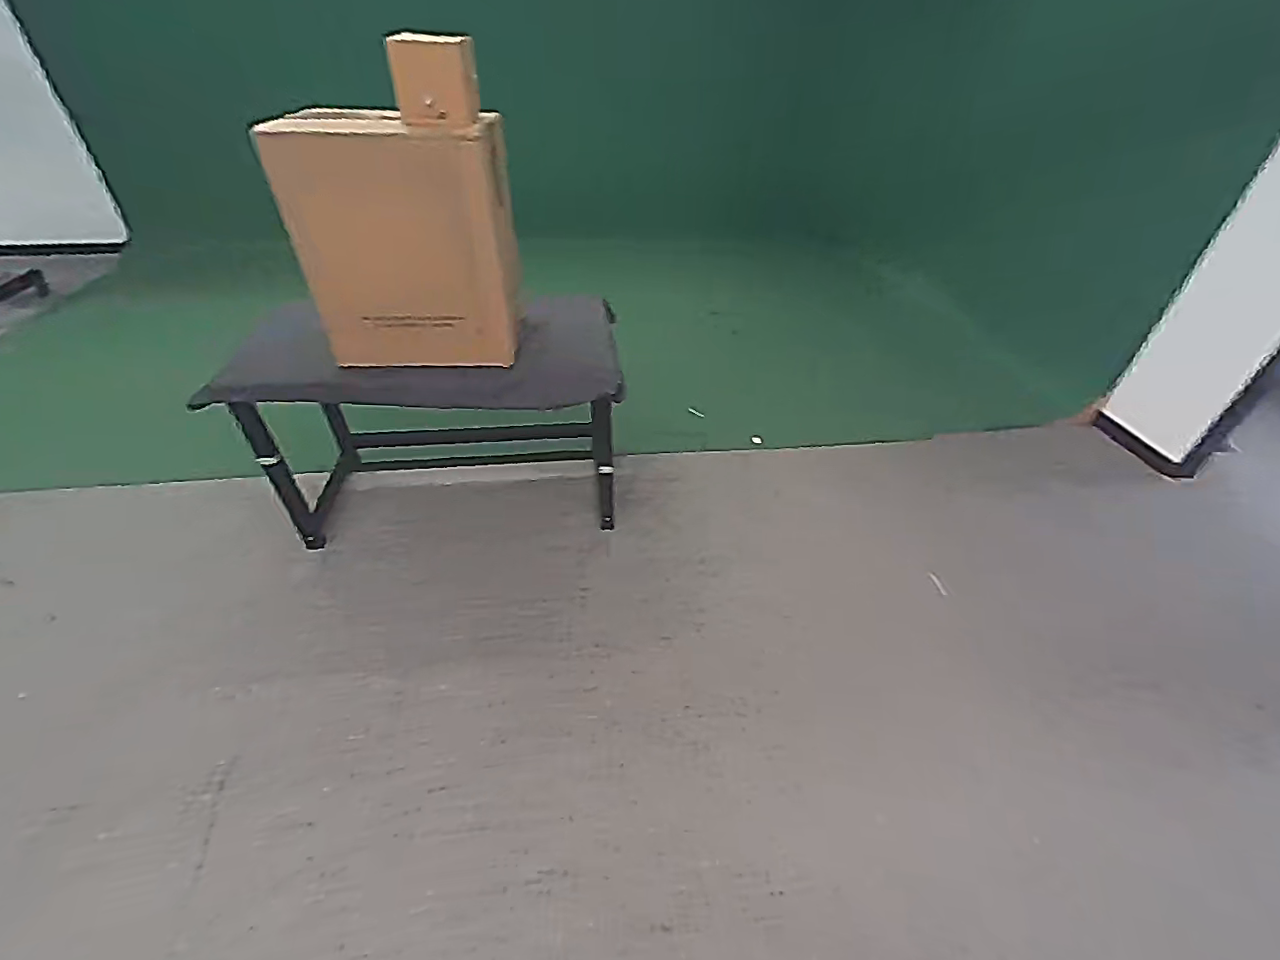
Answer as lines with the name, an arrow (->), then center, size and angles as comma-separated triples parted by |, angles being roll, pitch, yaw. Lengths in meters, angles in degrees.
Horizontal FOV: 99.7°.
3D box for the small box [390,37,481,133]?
small box -> -0.502, -0.993, 1.359 | 0.168, 0.176, 0.179 | 0, 43, -4
